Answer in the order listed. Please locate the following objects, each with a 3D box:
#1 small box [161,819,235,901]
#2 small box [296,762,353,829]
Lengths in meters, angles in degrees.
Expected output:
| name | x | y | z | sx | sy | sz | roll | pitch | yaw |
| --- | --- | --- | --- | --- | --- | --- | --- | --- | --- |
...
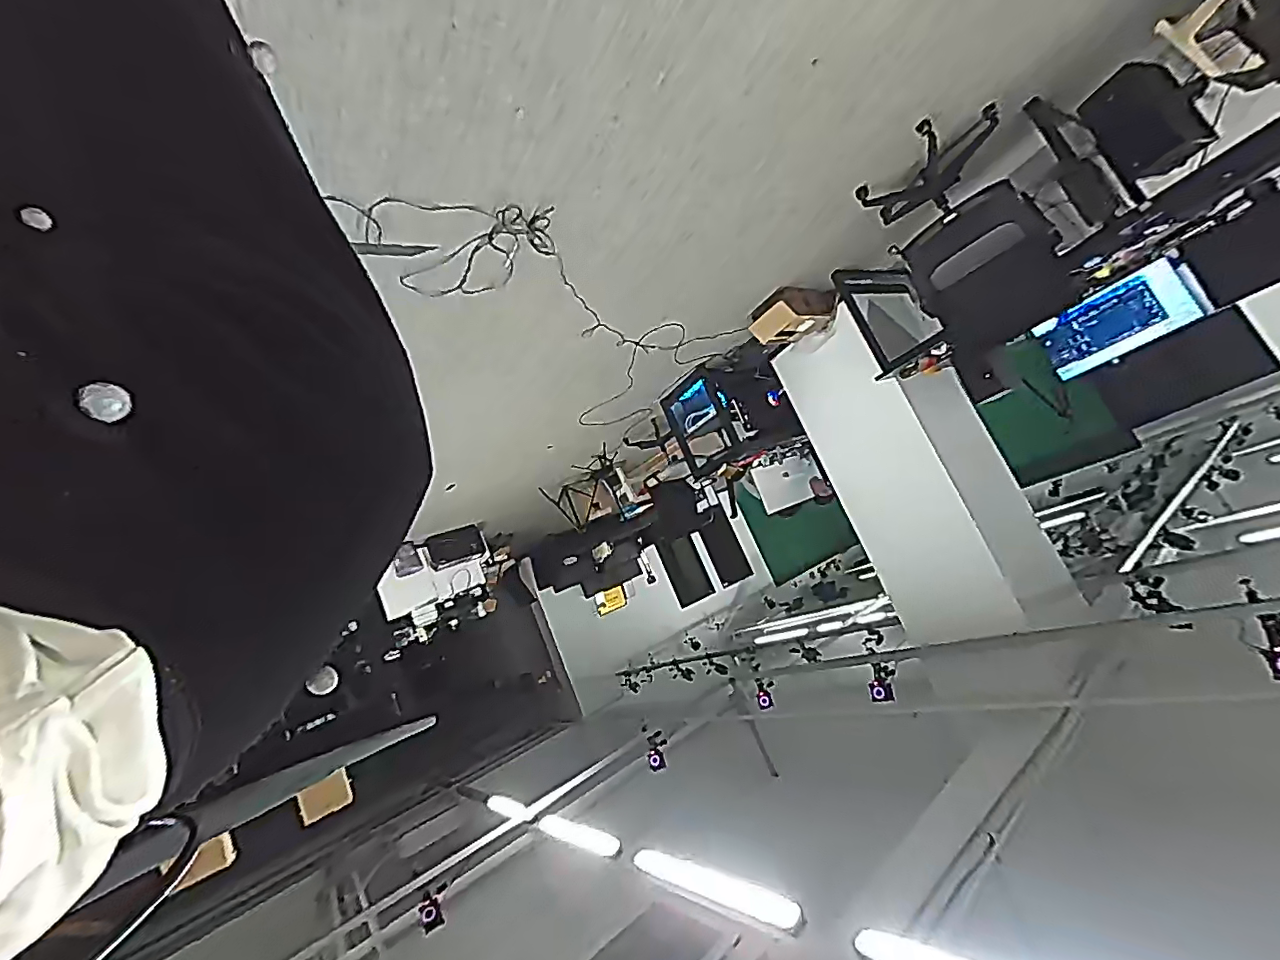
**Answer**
| name | x | y | z | sx | sy | sz | roll | pitch | yaw |
| --- | --- | --- | --- | --- | --- | --- | --- | --- | --- |
| small box | -1.591 | 1.357 | 1.944 | 0.179 | 0.176 | 0.168 | -16 | 167 | -36 |
| small box | -1.269 | 1.262 | 2.175 | 0.168 | 0.176 | 0.179 | -17 | 167 | -33 |
